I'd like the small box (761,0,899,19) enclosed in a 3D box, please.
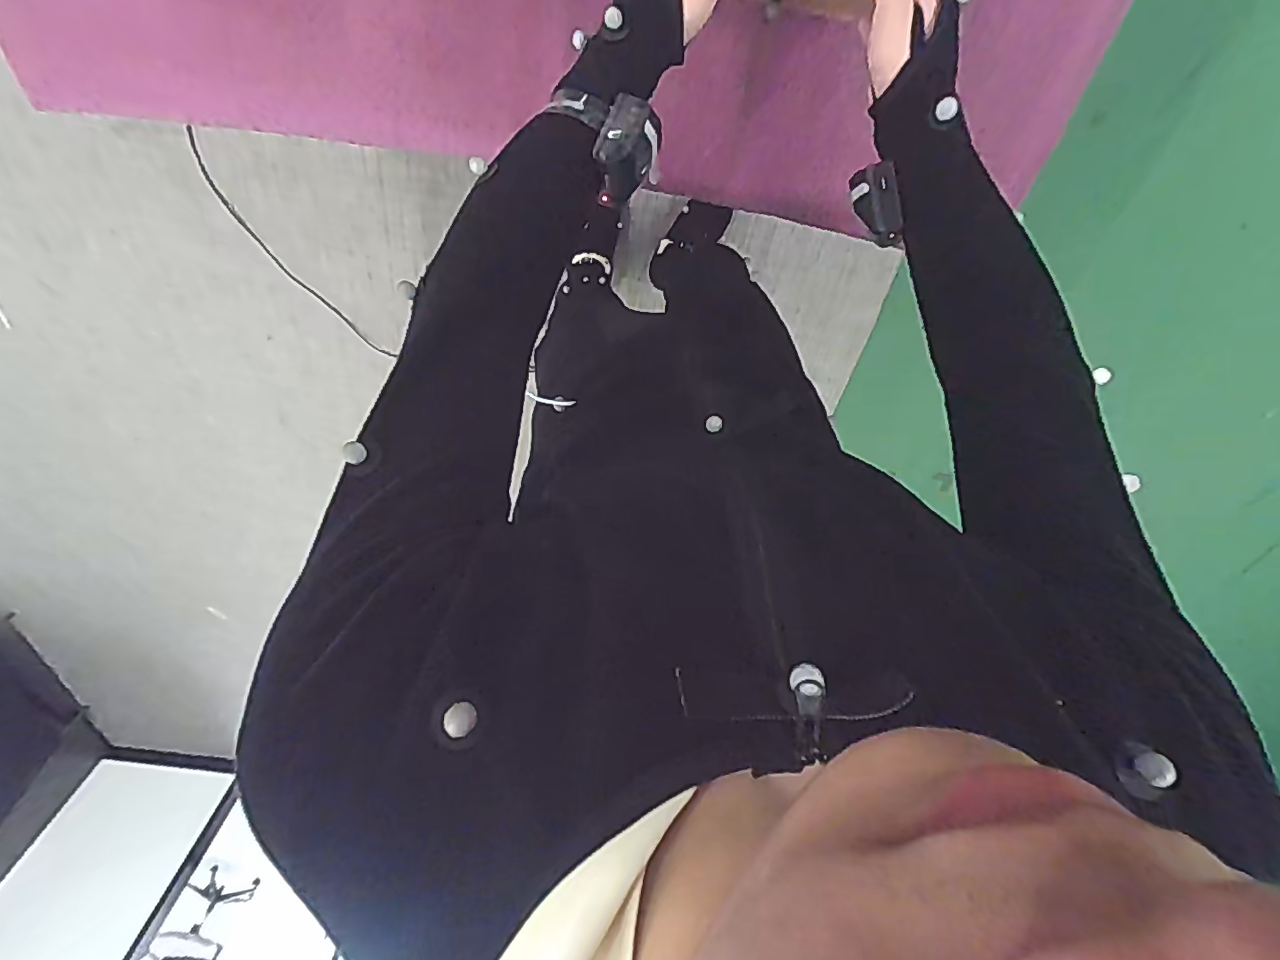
[{"bbox_3d":[0.144,-0.504,0.431,0.168,0.176,0.179,10,127,-4],"label":"small box"}]
